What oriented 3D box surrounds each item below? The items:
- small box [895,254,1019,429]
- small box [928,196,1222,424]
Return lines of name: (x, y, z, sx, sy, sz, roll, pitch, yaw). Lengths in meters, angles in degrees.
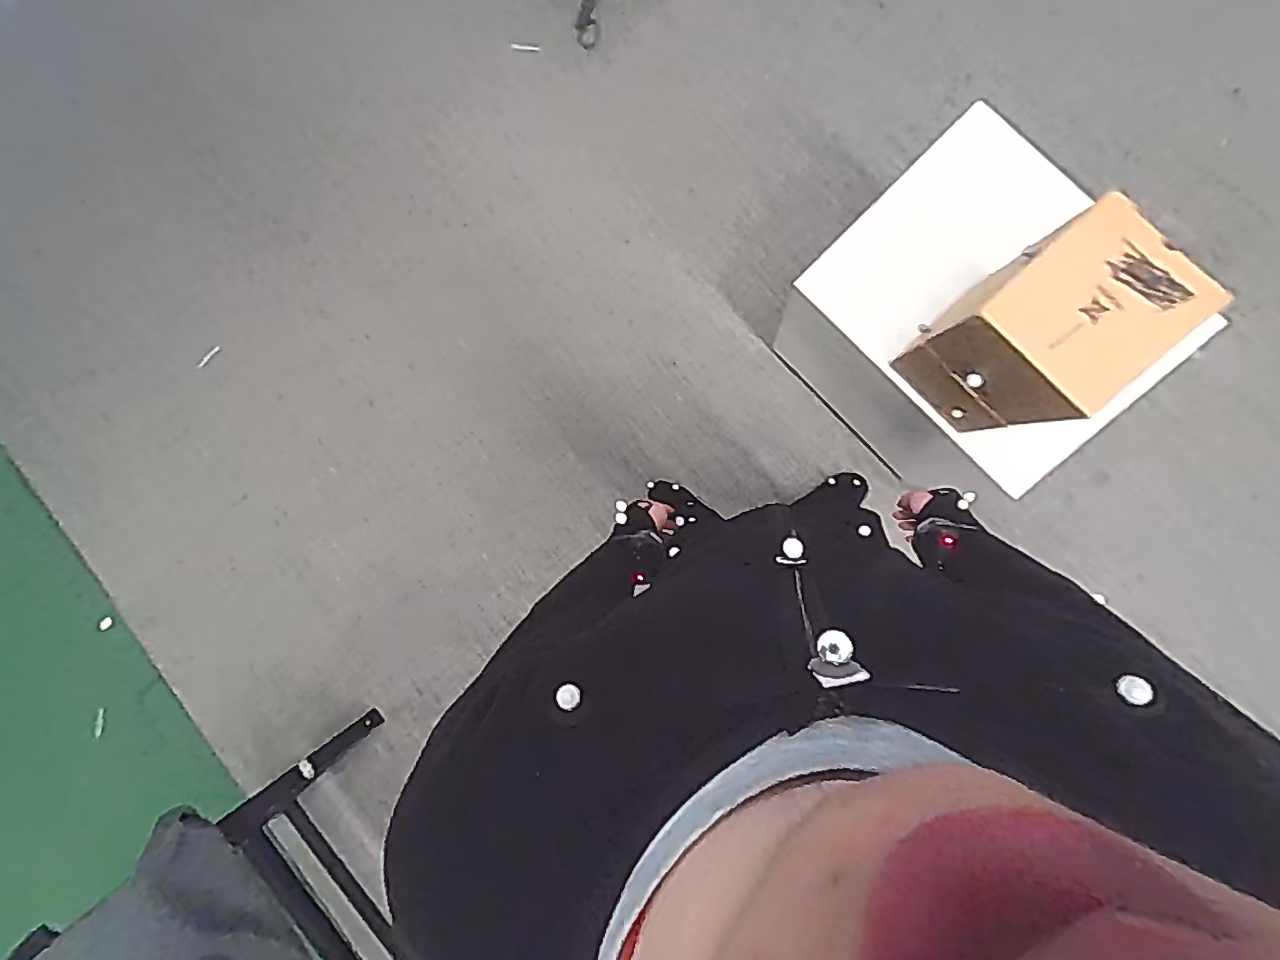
small box: (0.513, -0.191, 0.808, 0.179, 0.176, 0.168, -44, 86, 7)
small box: (0.490, -0.184, 0.646, 0.179, 0.176, 0.168, -43, 86, 9)
